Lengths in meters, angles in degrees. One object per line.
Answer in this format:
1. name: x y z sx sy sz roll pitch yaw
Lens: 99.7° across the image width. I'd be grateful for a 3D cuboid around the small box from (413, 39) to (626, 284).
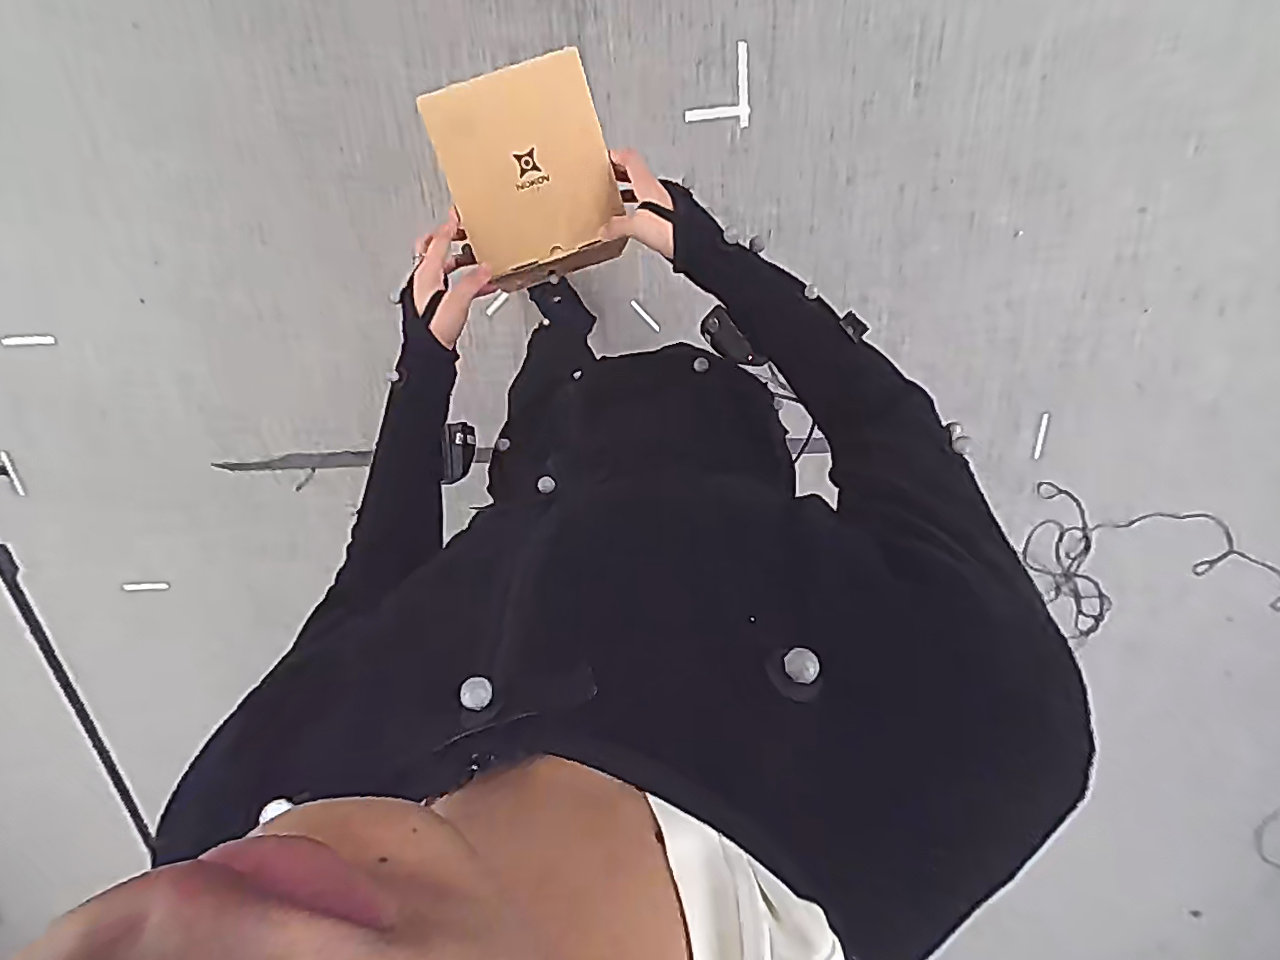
1. small box: -0.124 -0.339 0.614 0.168 0.176 0.179 -19 107 0
